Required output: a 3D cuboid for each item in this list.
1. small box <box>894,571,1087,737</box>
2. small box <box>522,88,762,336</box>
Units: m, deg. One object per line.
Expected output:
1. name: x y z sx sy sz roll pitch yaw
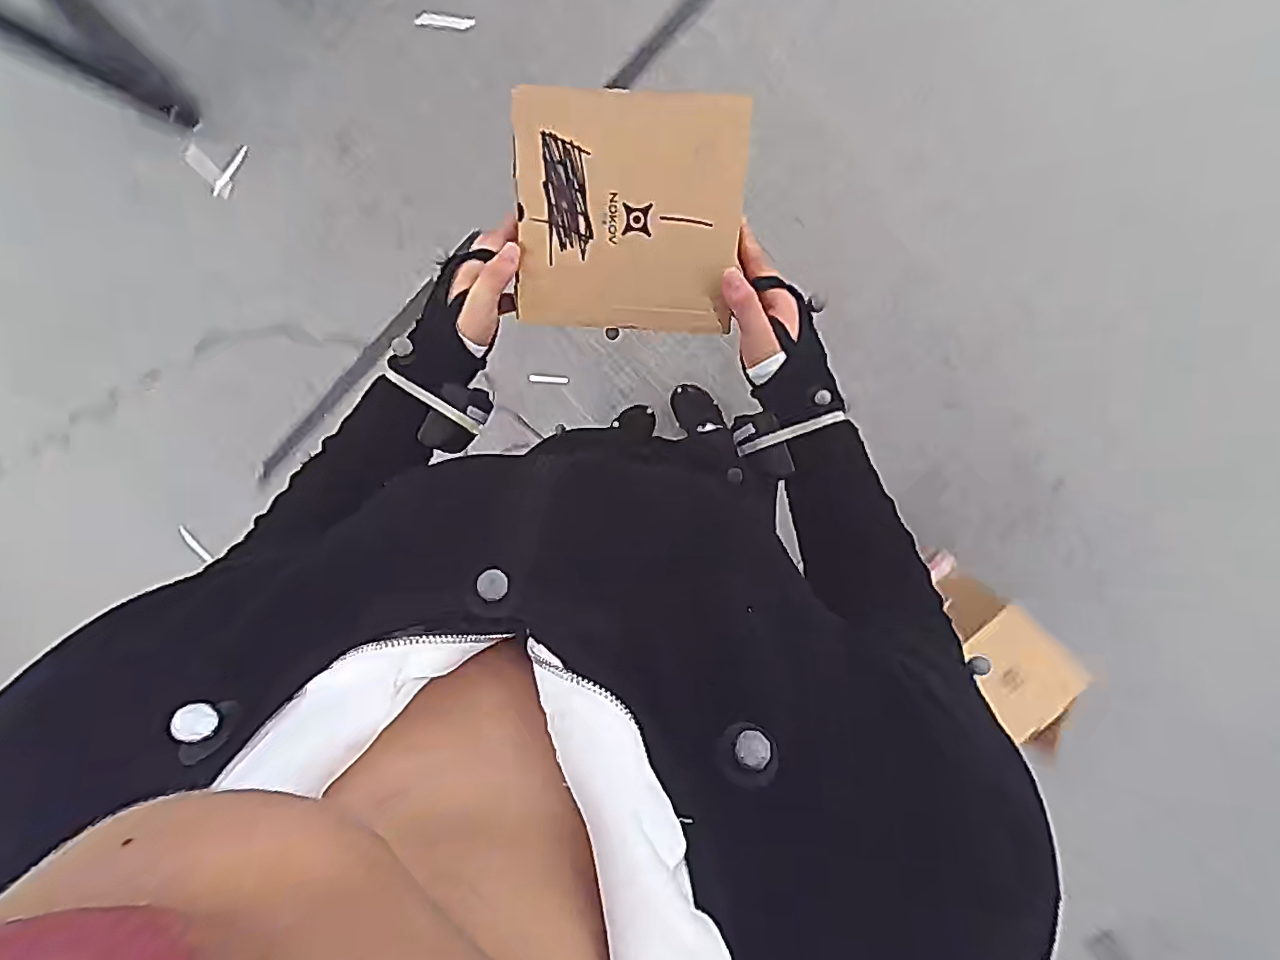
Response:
1. small box: 0.574 0.279 0.912 0.179 0.176 0.168 42 98 2
2. small box: 0.002 -0.230 0.495 0.179 0.176 0.168 6 110 3
